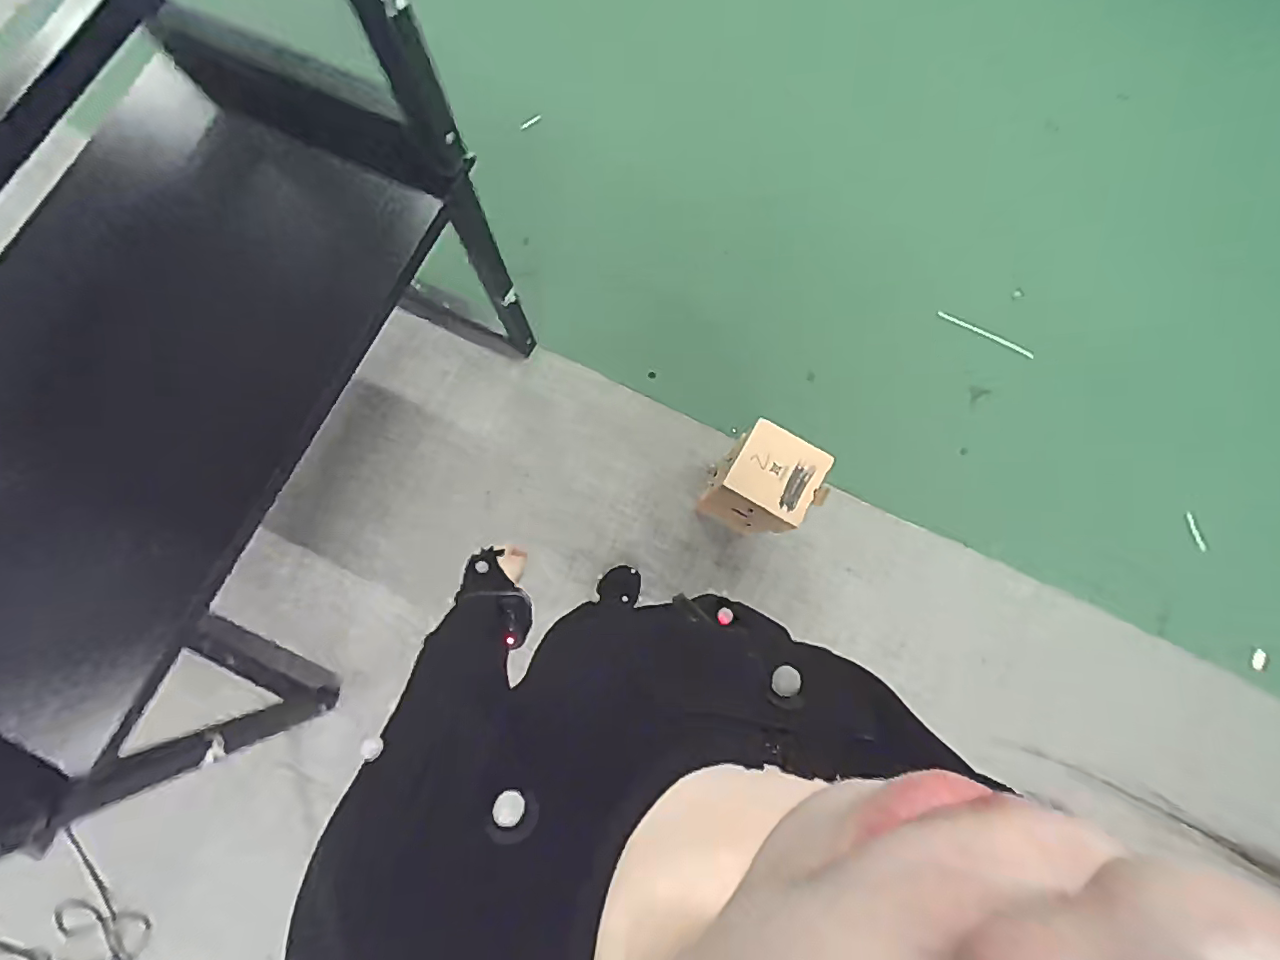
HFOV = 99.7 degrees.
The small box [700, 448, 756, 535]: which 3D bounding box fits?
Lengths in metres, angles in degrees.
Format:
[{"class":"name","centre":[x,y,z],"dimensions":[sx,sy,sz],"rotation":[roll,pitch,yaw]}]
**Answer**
[{"class":"small box","centre":[0.278,0.039,1.467],"dimensions":[0.179,0.176,0.168],"rotation":[29,81,3]}]

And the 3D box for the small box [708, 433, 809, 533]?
[{"class":"small box","centre":[0.276,0.016,1.308],"dimensions":[0.168,0.176,0.179],"rotation":[28,80,3]}]
